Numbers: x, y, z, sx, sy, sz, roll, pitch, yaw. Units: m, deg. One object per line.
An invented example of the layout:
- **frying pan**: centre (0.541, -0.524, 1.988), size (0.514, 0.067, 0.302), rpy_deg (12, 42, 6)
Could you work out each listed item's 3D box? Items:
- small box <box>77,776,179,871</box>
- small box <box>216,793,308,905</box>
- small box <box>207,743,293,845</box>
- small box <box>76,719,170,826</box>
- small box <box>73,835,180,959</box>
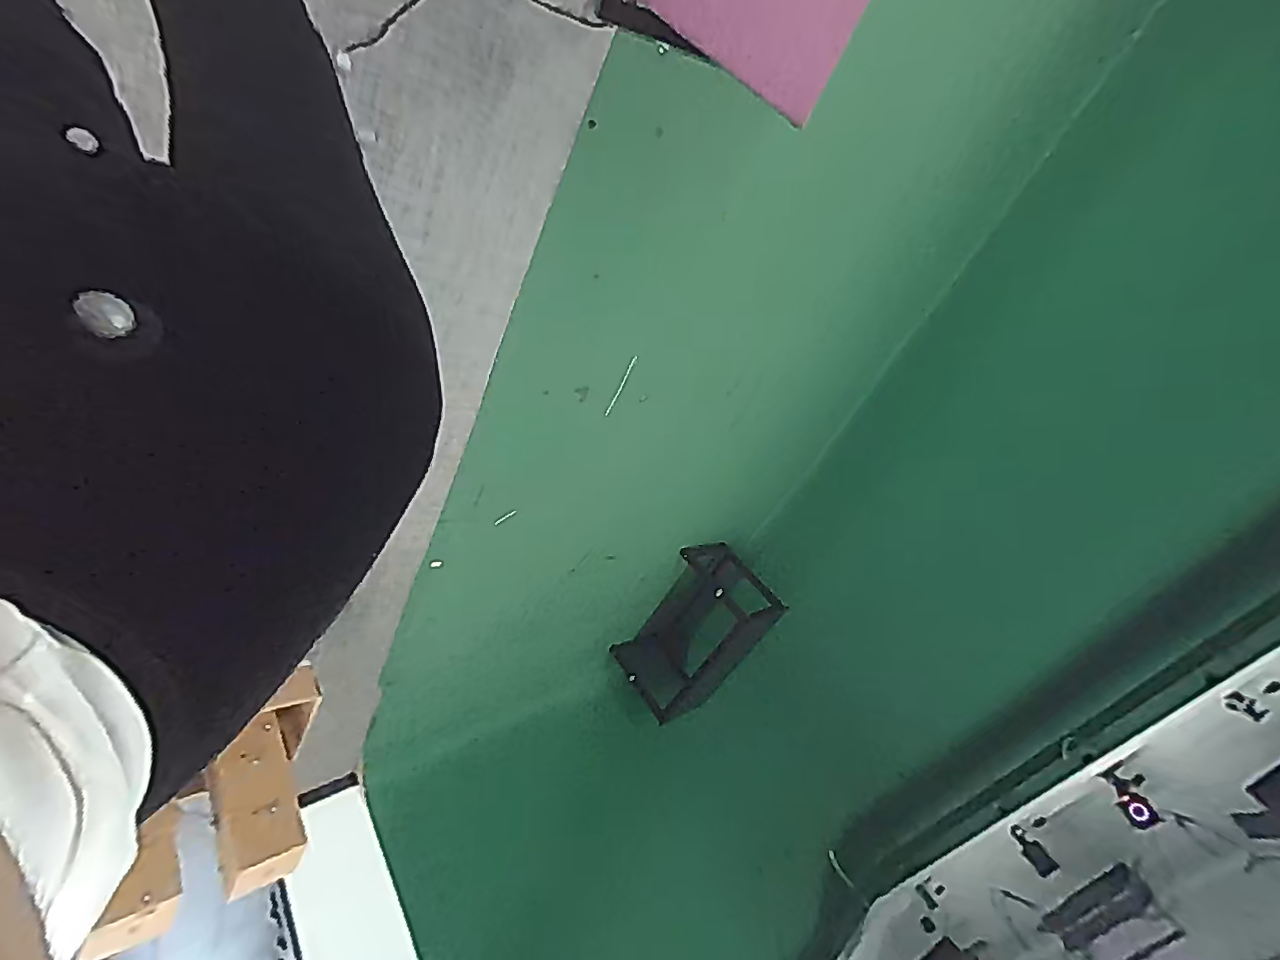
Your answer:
- **small box**: centre (-1.315, 0.892, 1.385), size (0.168, 0.176, 0.179), rpy_deg (4, 126, -50)
- **small box**: centre (-1.059, 1.020, 1.507), size (0.168, 0.176, 0.179), rpy_deg (2, 128, -50)
- **small box**: centre (-1.152, 0.916, 1.592), size (0.168, 0.176, 0.179), rpy_deg (1, 129, -49)
- **small box**: centre (-1.409, 0.788, 1.470), size (0.168, 0.176, 0.179), rpy_deg (3, 126, -50)
- **small box**: centre (-1.231, 1.001, 1.294), size (0.168, 0.176, 0.179), rpy_deg (4, 127, -50)
